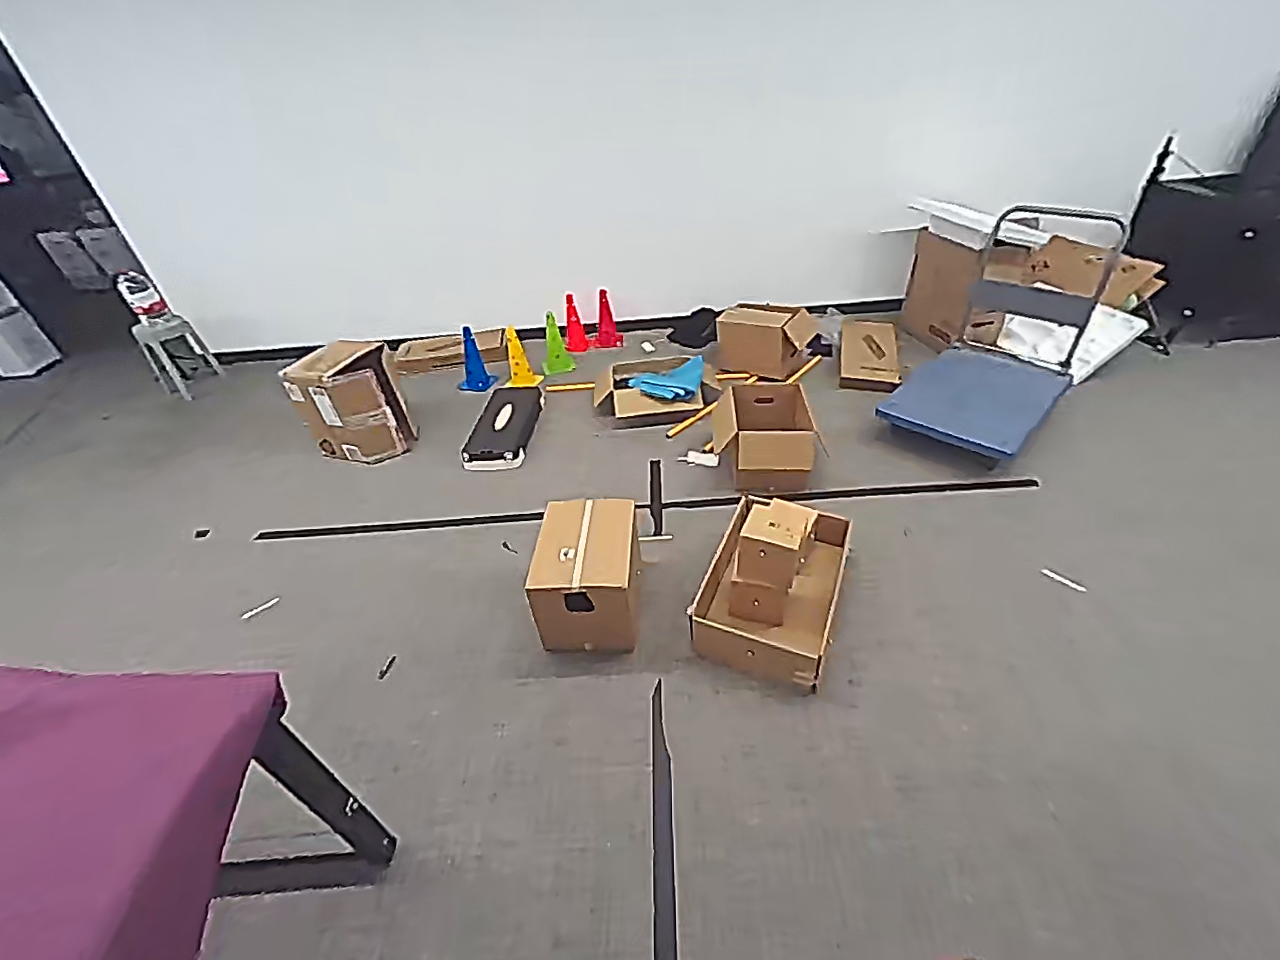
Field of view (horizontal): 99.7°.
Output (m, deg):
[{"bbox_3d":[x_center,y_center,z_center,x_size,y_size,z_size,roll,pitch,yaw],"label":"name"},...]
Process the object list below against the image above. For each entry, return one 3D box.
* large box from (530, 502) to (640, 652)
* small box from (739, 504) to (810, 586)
[{"bbox_3d":[-0.162,0.322,1.836,0.320,0.320,0.408,-3,39,5],"label":"large box"},{"bbox_3d":[0.414,0.204,1.682,0.179,0.176,0.168,14,39,22],"label":"small box"}]
